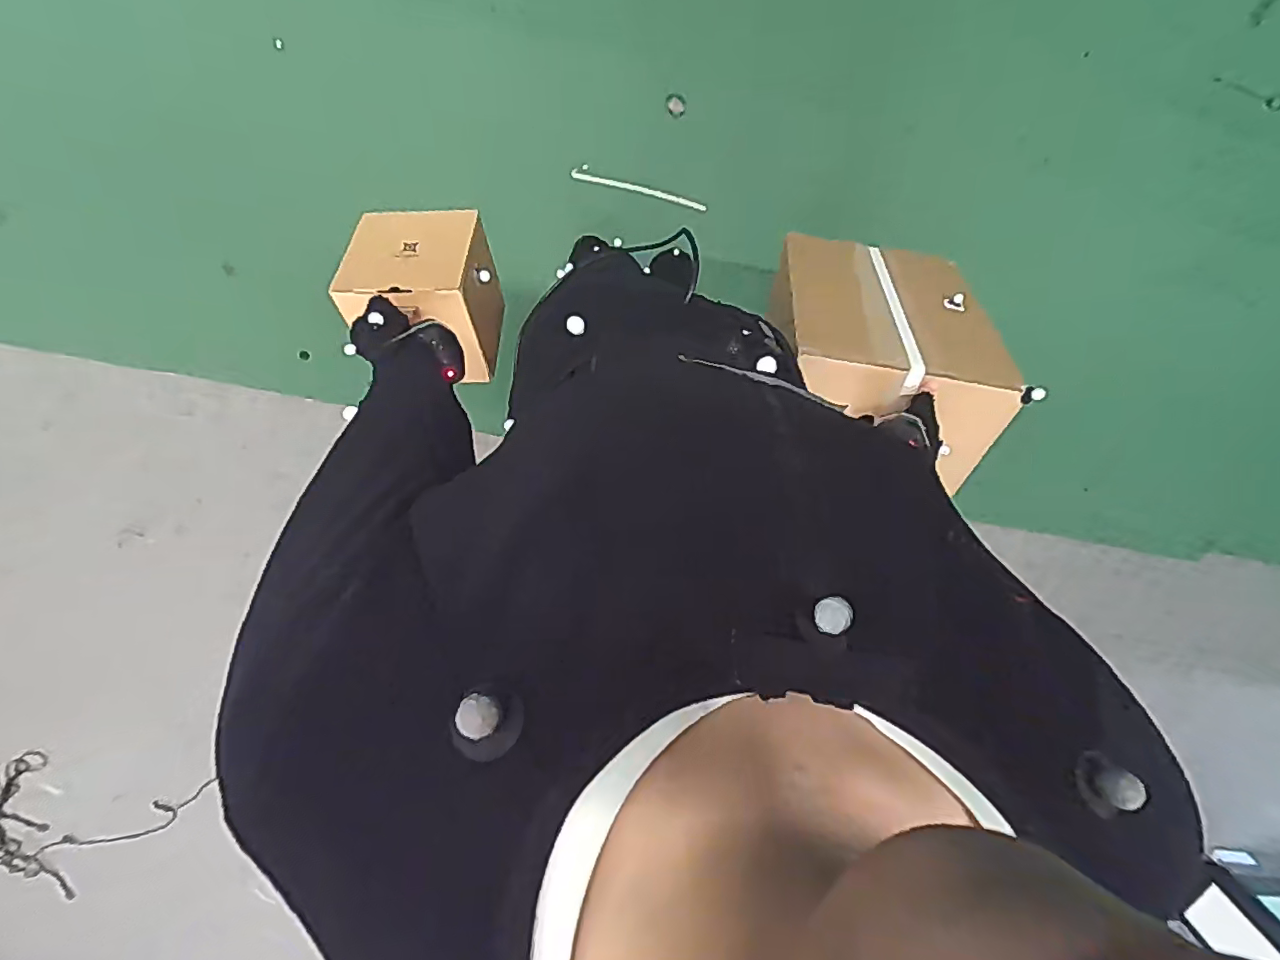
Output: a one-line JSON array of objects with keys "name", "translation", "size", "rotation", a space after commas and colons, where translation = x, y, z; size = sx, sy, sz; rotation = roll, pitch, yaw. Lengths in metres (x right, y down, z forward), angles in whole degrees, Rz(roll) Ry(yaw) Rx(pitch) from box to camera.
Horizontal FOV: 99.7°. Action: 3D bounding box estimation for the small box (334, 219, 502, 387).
[{"name": "small box", "translation": [-0.309, -0.258, 0.797], "size": [0.168, 0.179, 0.176], "rotation": [-1, 147, 0]}]
